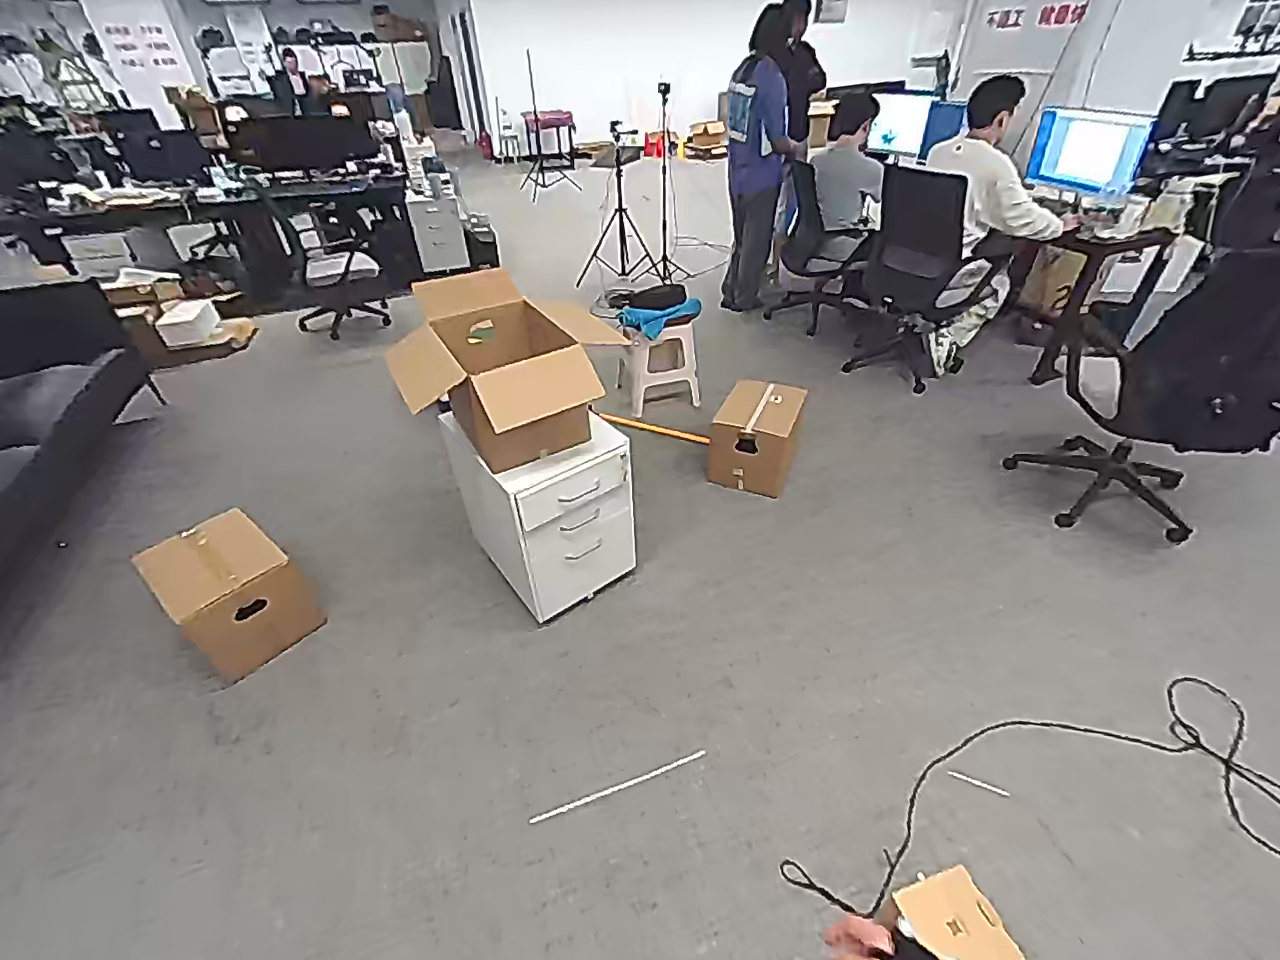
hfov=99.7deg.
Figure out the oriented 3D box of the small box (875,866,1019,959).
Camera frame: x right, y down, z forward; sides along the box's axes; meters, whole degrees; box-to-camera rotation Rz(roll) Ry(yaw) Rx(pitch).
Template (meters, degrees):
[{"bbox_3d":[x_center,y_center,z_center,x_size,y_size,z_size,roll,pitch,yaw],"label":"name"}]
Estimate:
[{"bbox_3d":[0.598,0.922,1.082,0.179,0.176,0.168,-11,39,-13],"label":"small box"}]
